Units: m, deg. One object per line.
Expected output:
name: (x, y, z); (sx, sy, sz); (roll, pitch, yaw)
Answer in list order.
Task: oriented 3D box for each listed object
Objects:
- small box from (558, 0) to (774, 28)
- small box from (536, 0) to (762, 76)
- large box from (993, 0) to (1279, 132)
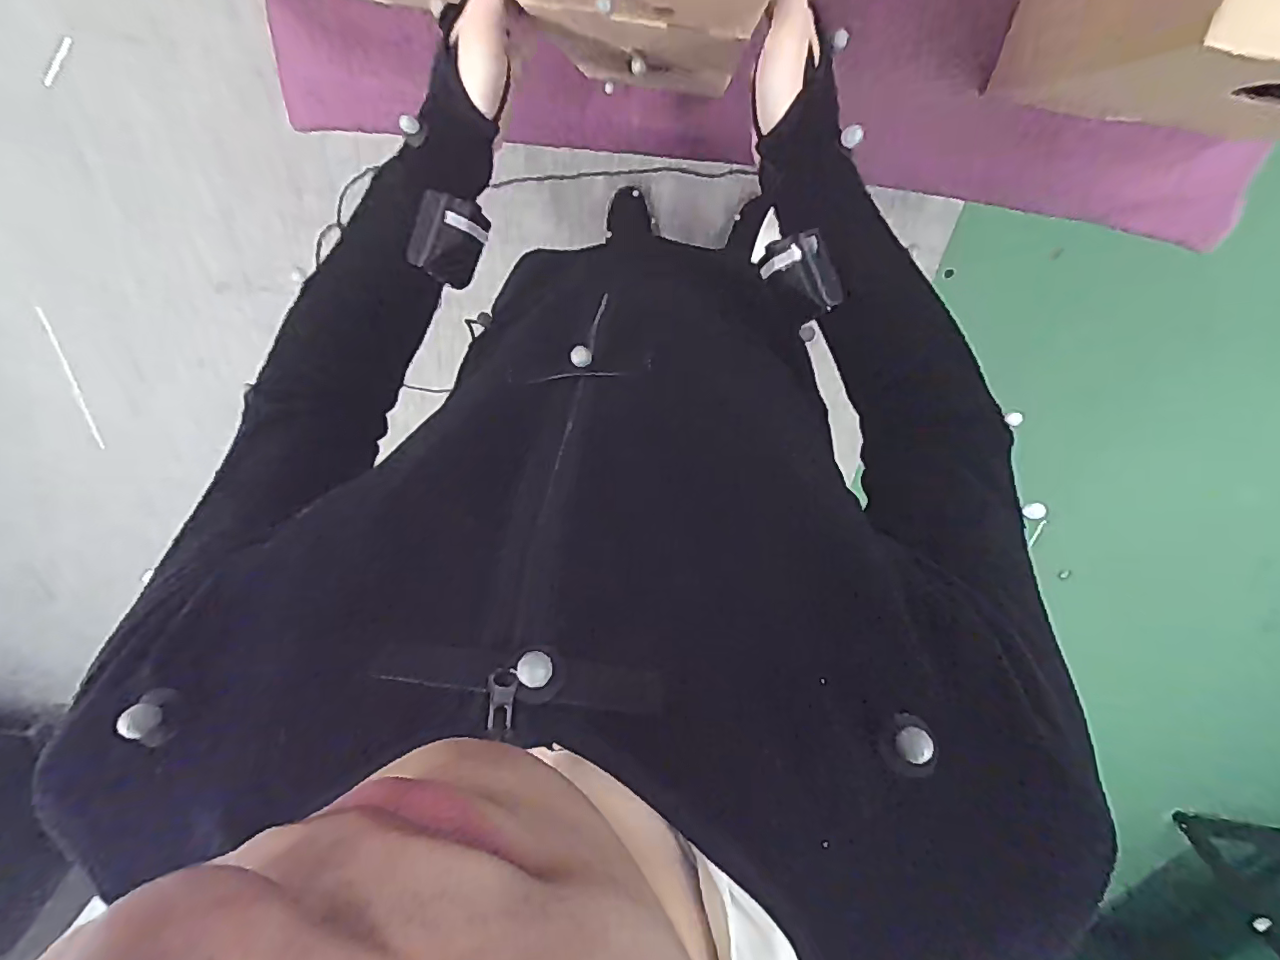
small box: (0.008, -0.349, 0.252); (0.168, 0.176, 0.179); (7, 121, -2)
small box: (0.015, -0.426, 0.394); (0.168, 0.176, 0.179); (8, 119, -1)
large box: (0.579, -0.530, 0.417); (0.320, 0.320, 0.408); (8, 121, -1)
